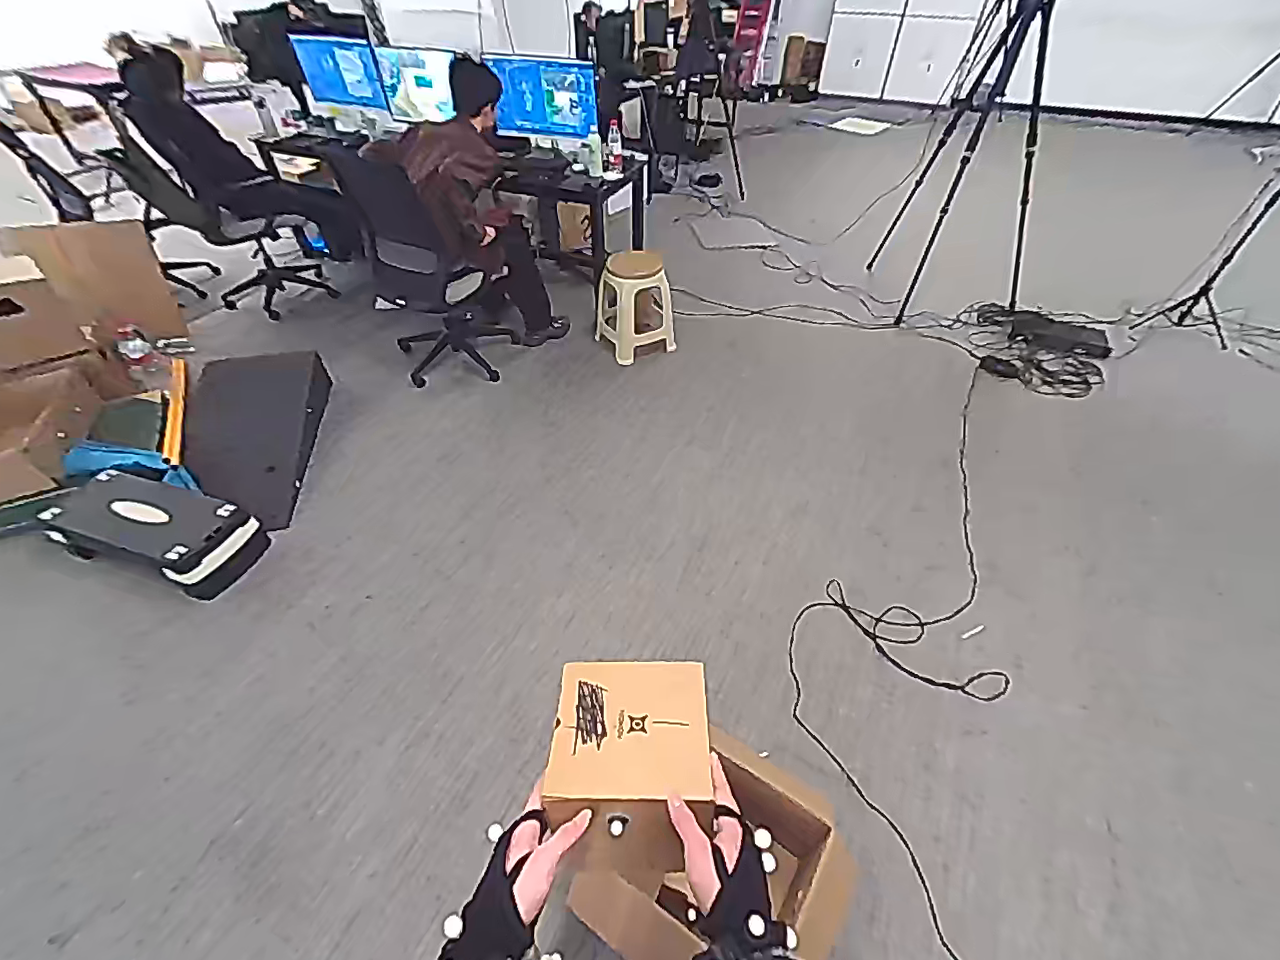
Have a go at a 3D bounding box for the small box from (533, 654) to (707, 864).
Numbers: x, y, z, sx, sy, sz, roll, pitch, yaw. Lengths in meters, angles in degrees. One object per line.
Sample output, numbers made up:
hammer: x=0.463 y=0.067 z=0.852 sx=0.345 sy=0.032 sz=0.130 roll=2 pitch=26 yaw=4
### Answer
small box: x=-0.010 y=0.330 z=0.644 sx=0.179 sy=0.176 sz=0.168 roll=0 pitch=36 yaw=7
